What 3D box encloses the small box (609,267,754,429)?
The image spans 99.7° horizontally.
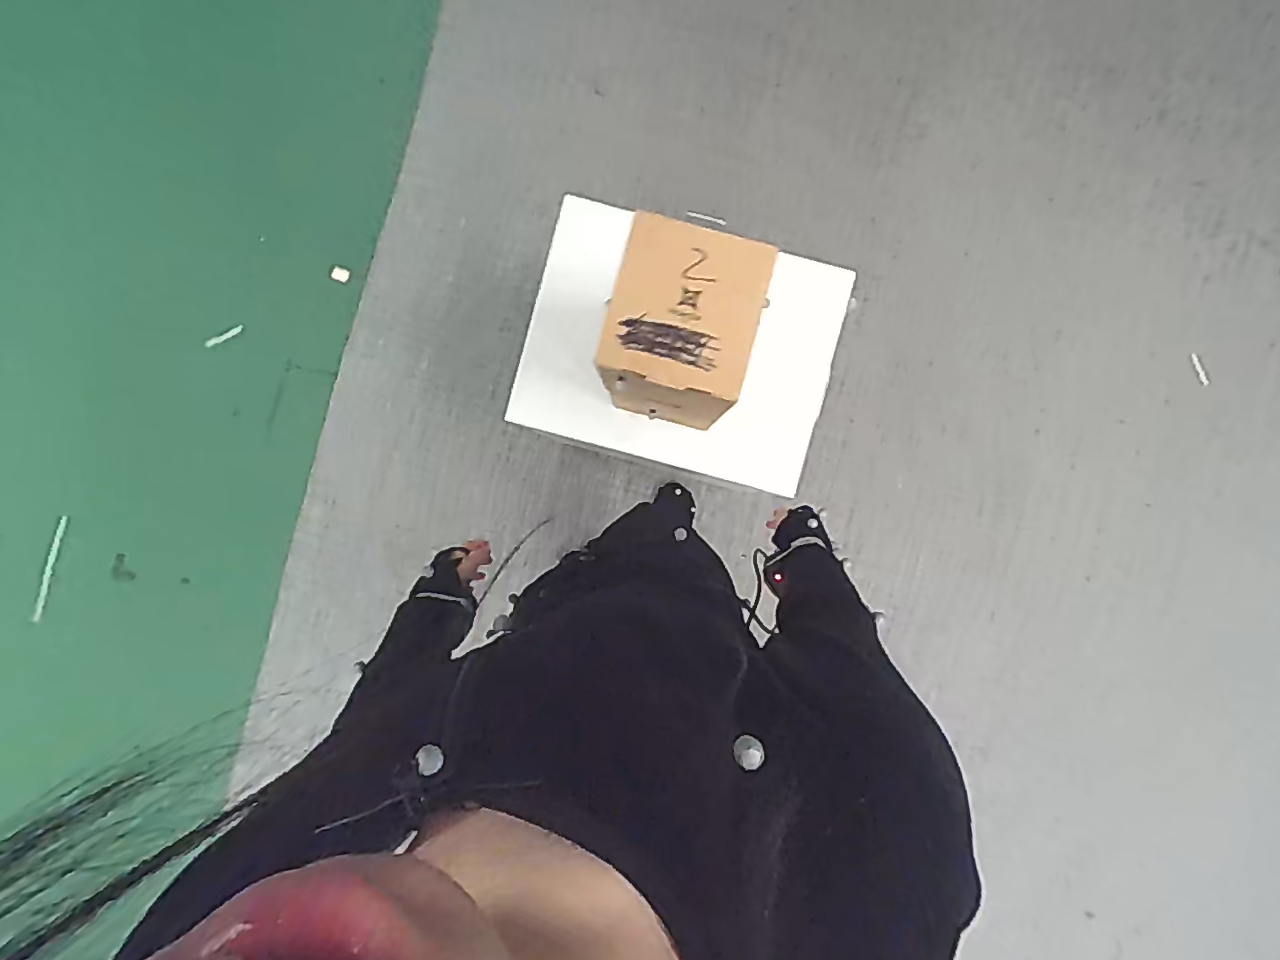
[{"bbox_3d":[0.056,-0.186,0.814,0.168,0.176,0.179,15,90,1],"label":"small box"}]
